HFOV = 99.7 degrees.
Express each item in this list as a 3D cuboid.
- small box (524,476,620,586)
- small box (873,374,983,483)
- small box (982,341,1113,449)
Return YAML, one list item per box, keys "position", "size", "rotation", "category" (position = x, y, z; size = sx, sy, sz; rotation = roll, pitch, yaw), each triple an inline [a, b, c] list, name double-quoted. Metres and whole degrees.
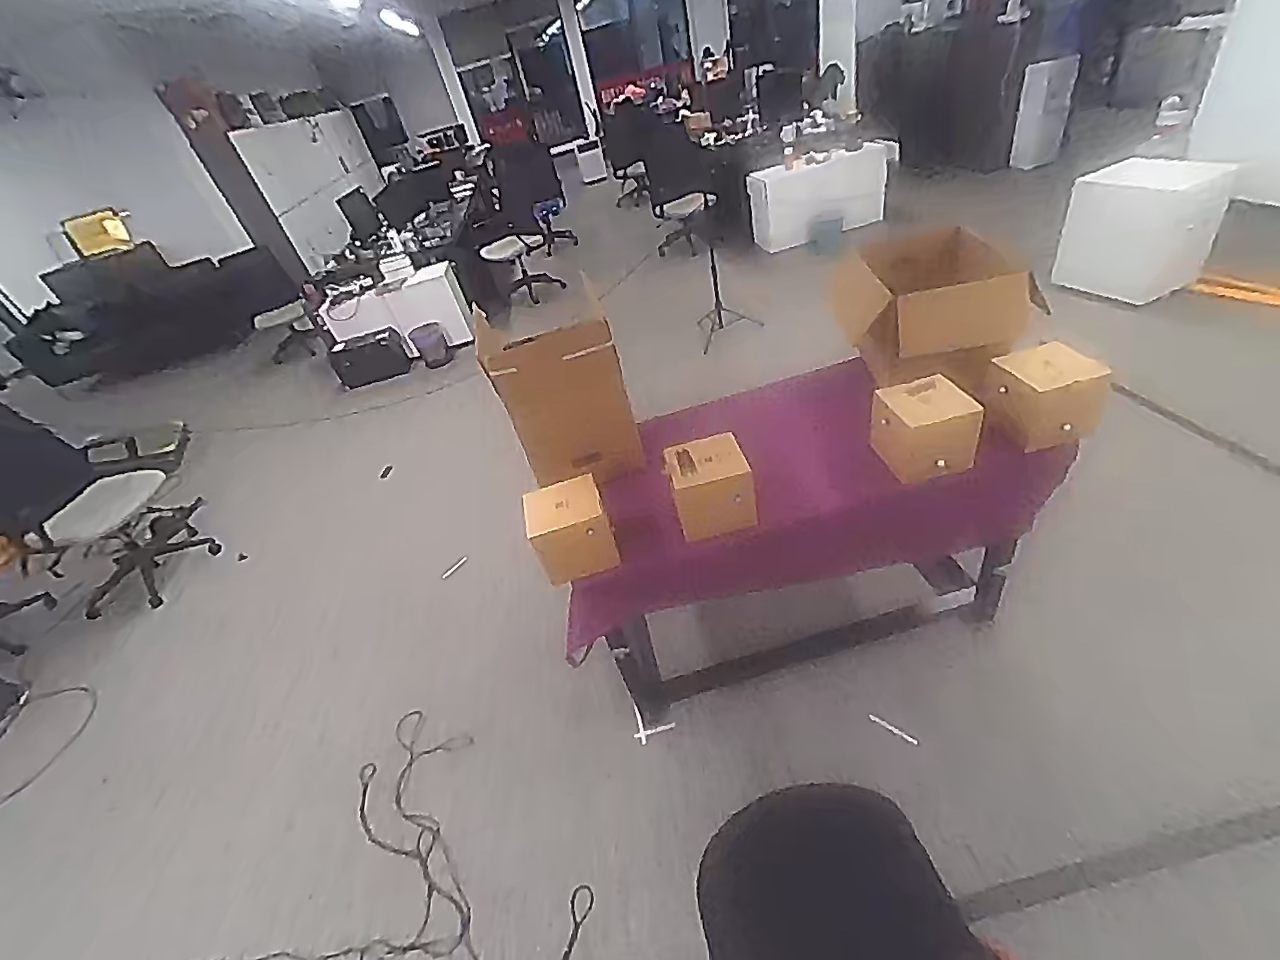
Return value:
- position: [-0.162, 0.124, 1.284]
  size: [0.179, 0.176, 0.168]
  rotation: [-18, 37, -4]
  category: "small box"
- position: [0.668, -0.121, 1.280]
  size: [0.168, 0.176, 0.179]
  rotation: [-15, 38, 2]
  category: "small box"
- position: [0.941, -0.199, 1.272]
  size: [0.168, 0.176, 0.179]
  rotation: [-15, 37, 3]
  category: "small box"
